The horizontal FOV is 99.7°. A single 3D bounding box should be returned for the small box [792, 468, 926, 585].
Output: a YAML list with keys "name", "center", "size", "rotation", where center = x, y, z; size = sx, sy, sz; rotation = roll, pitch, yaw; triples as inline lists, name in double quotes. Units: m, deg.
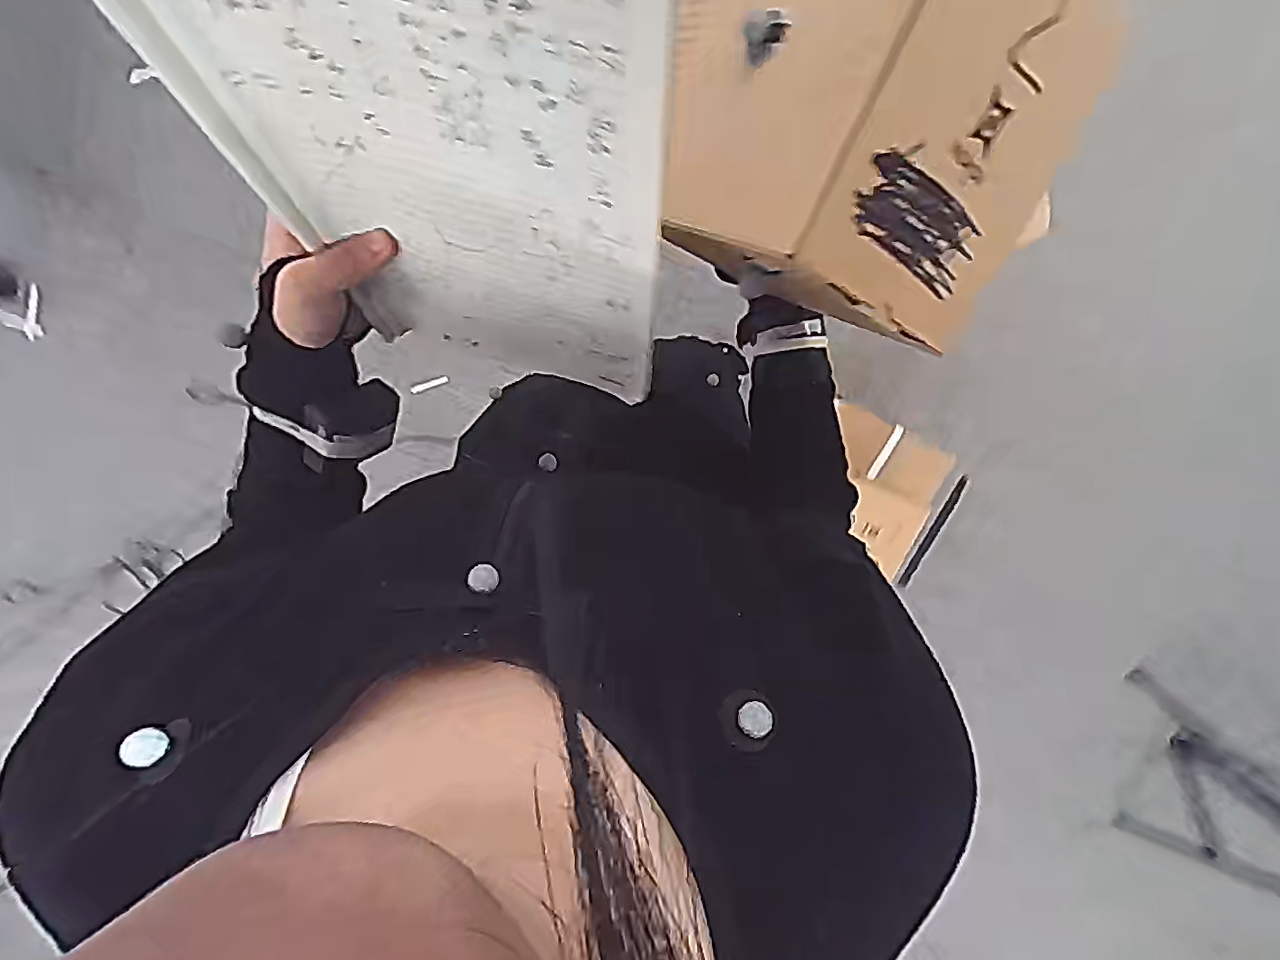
- name: "small box"
  center: [0.442, 0.087, 1.130]
  size: [0.179, 0.176, 0.168]
  rotation: [20, 105, -6]
